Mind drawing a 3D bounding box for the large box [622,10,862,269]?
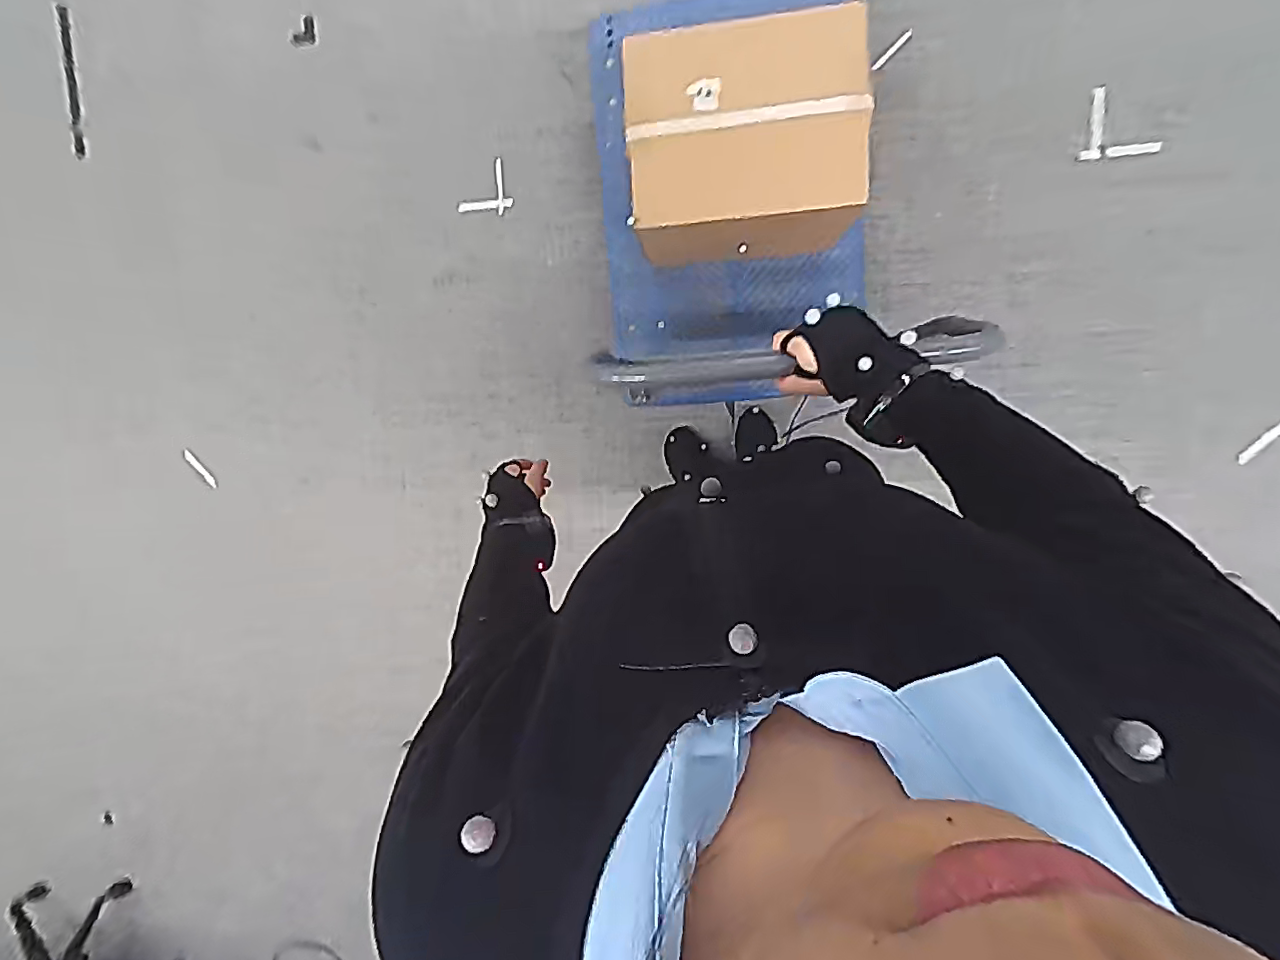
[{"bbox_3d":[0.197,-0.636,1.086,0.408,0.320,0.320,-3,97,8],"label":"large box"}]
